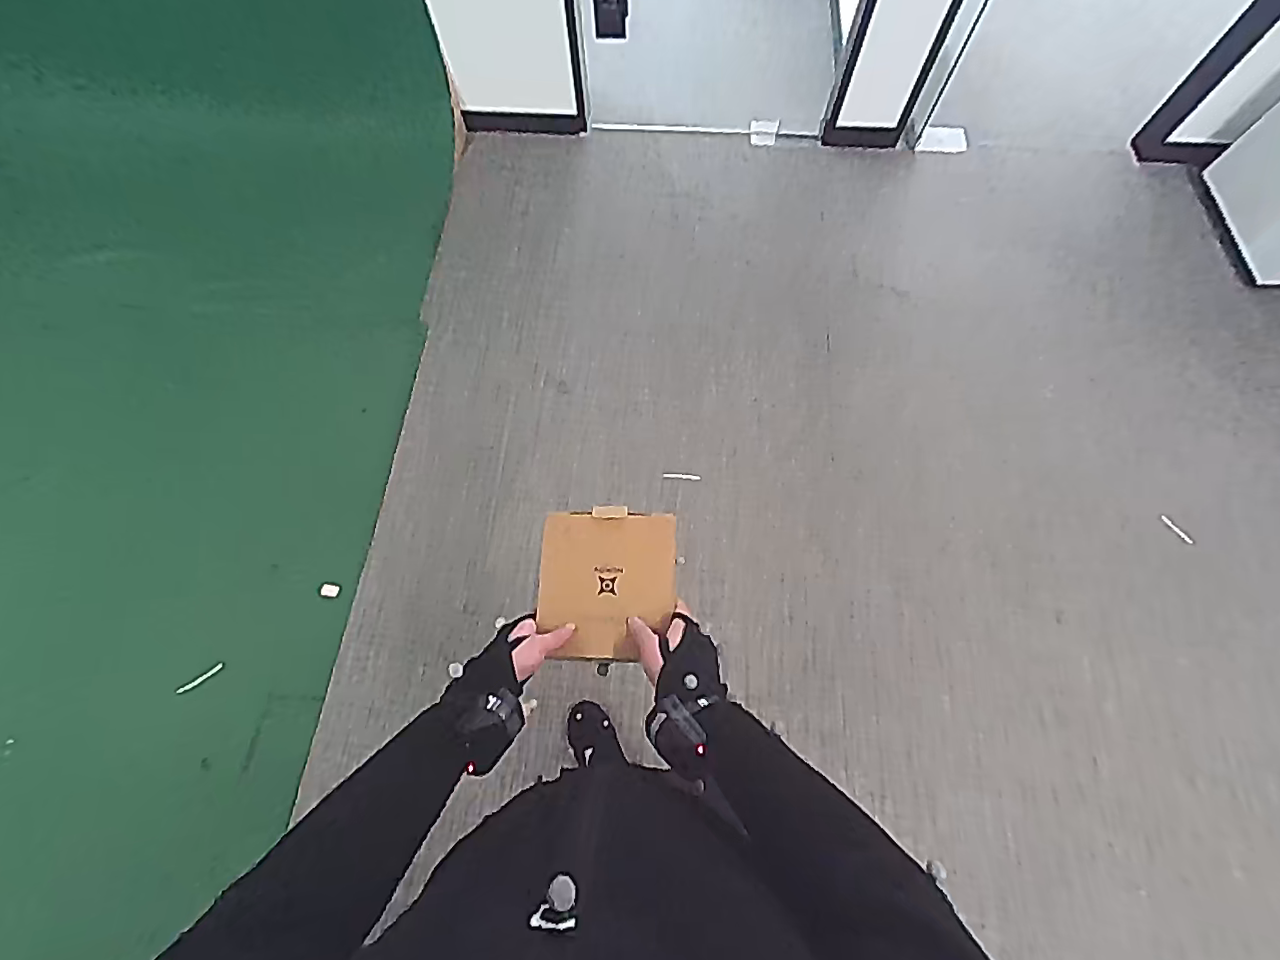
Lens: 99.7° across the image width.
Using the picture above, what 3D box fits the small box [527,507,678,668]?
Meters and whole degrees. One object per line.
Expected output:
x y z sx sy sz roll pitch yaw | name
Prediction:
-0.038 0.146 0.706 0.168 0.176 0.179 2 70 4 | small box
